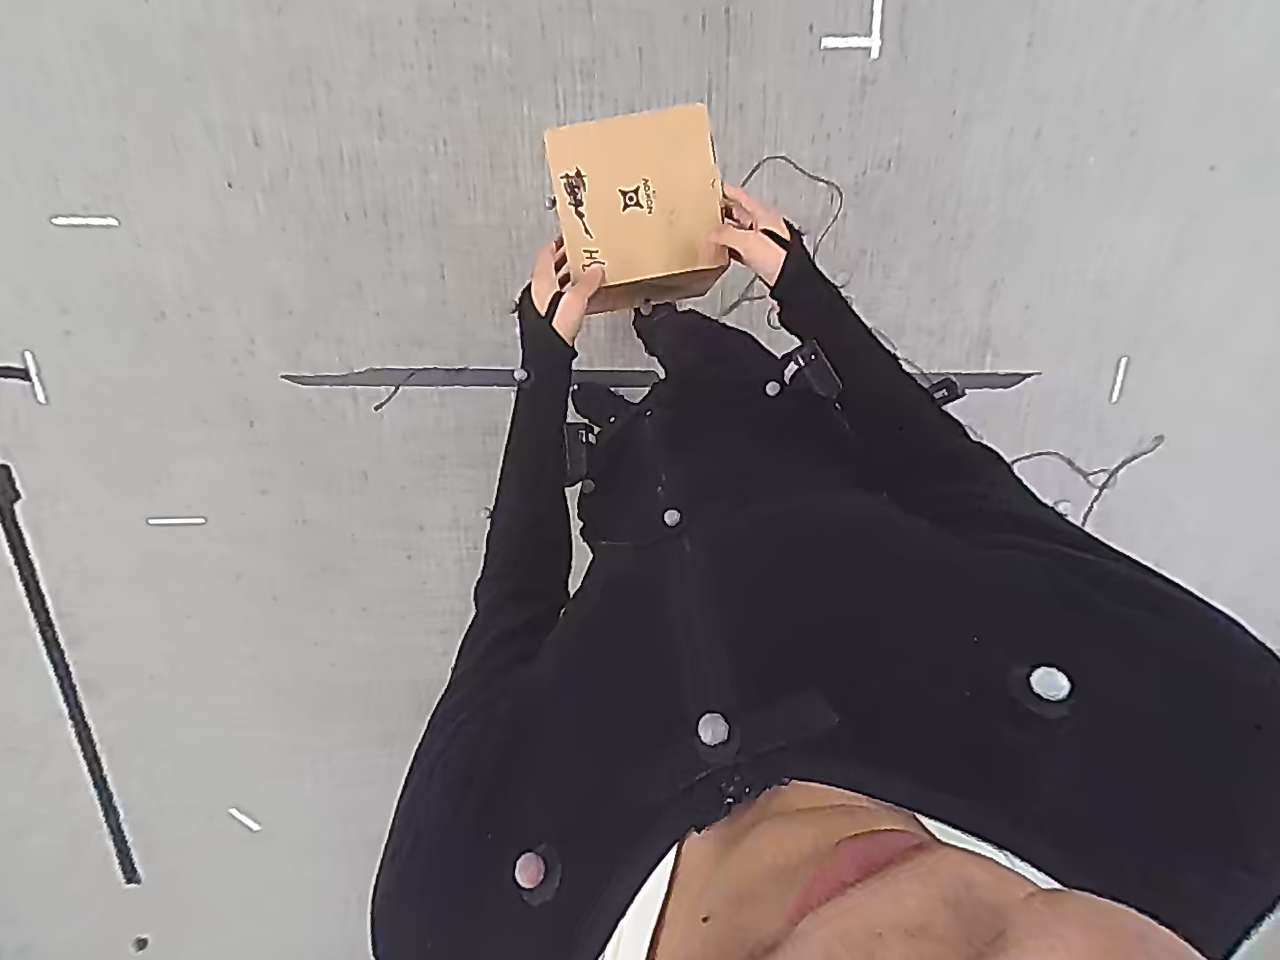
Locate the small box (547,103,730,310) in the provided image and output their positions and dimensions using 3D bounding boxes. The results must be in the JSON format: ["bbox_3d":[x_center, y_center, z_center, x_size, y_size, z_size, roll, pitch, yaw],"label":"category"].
[{"bbox_3d":[-0.005,-0.310,0.646,0.179,0.176,0.168,-10,98,-2],"label":"small box"}]
